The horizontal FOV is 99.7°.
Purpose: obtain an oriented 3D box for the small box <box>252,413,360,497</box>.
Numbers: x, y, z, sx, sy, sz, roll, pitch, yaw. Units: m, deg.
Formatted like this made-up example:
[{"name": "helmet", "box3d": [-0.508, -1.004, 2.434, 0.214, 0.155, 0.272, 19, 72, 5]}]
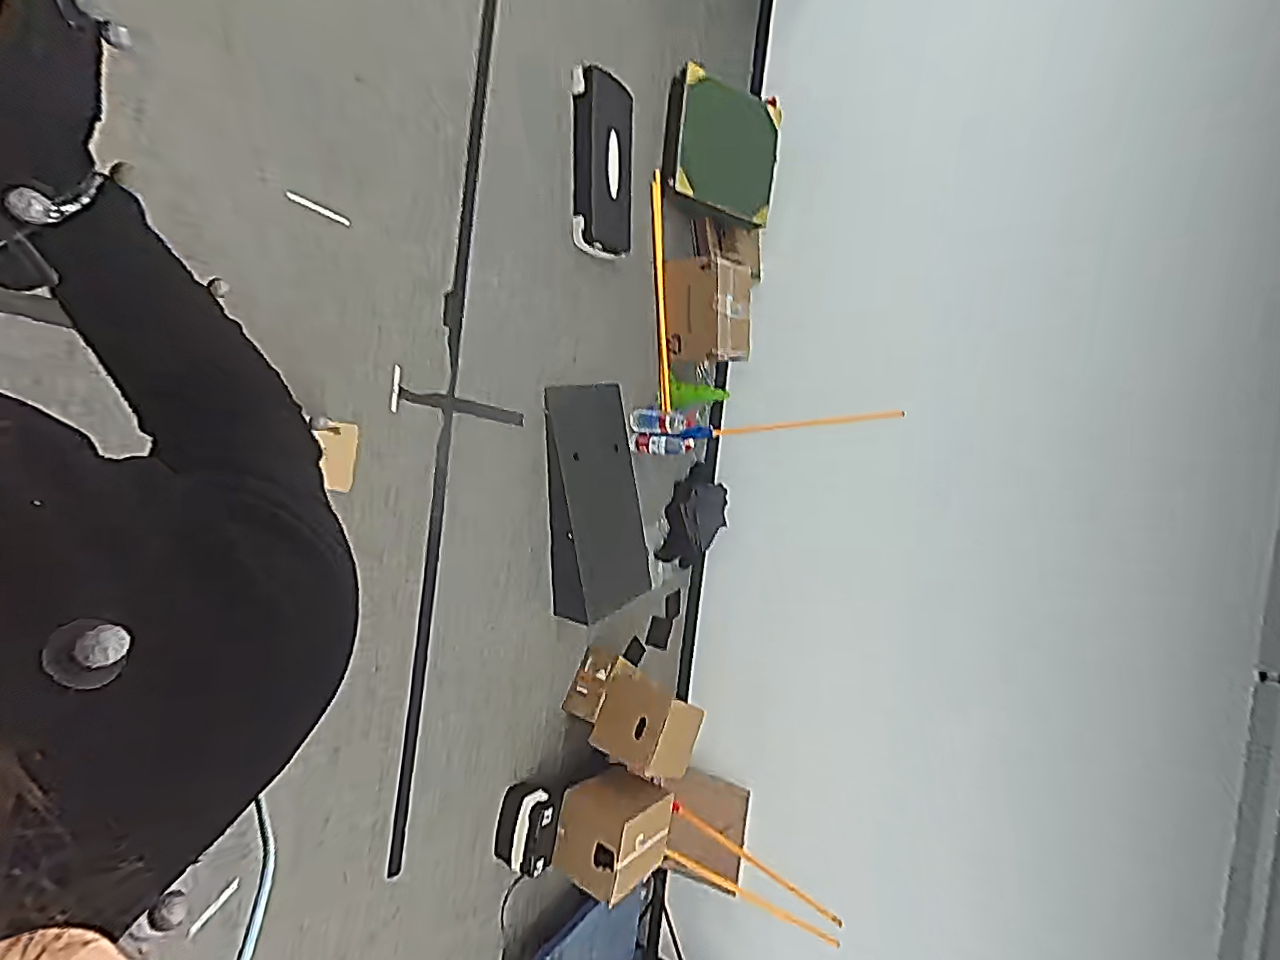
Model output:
[{"name": "small box", "box3d": [-0.840, -0.062, 1.355, 0.168, 0.176, 0.179, 11, 88, -57]}]
